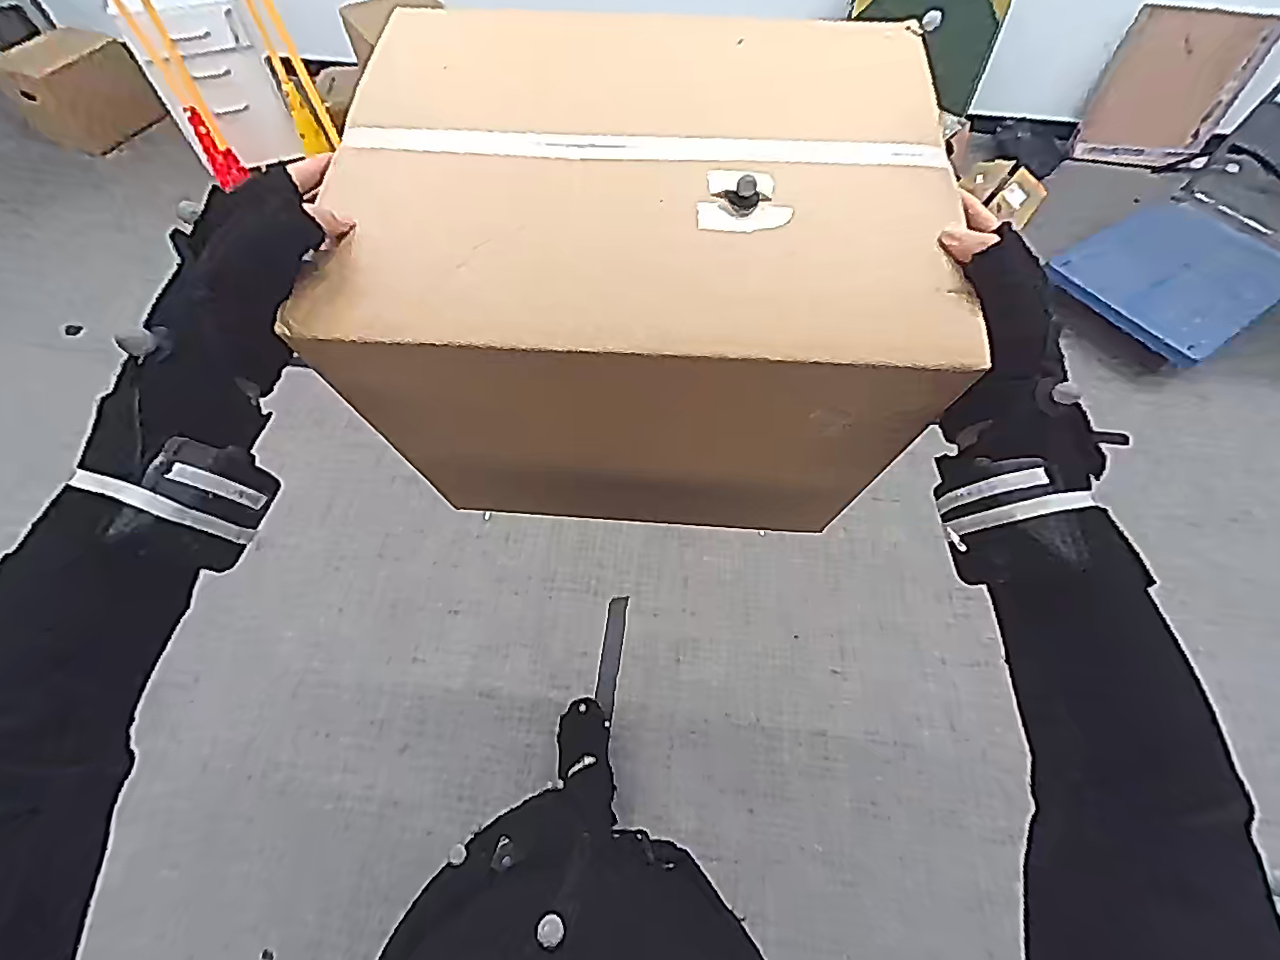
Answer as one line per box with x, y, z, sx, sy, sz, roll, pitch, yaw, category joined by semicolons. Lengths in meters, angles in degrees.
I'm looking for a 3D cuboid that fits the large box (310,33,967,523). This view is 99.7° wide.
0.003;-0.157;0.515;0.408;0.320;0.320;4;68;1;large box
